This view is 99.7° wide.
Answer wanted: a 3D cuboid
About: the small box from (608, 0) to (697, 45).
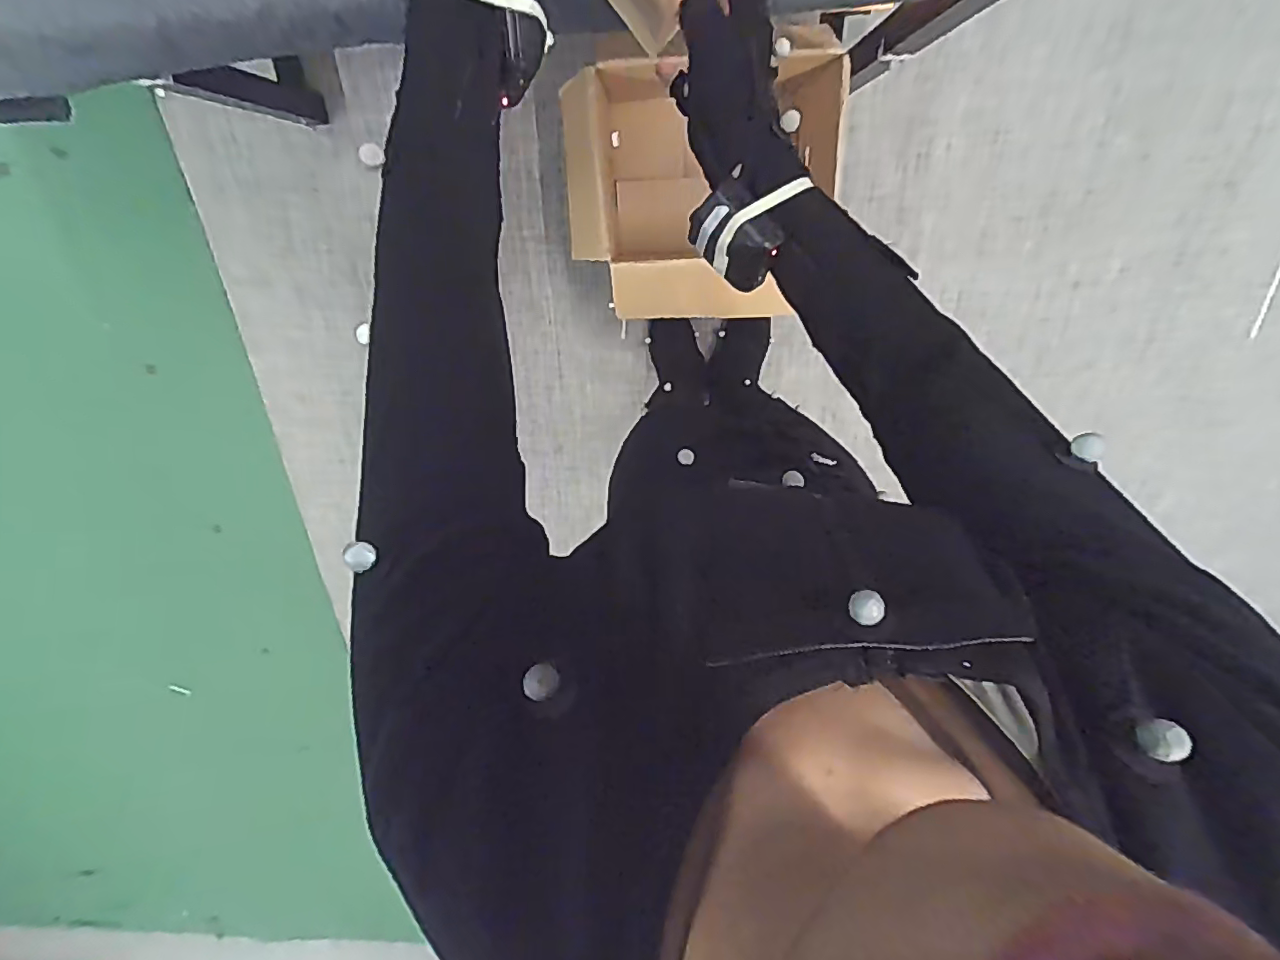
[{"bbox_3d":[0.020,-0.478,0.394,0.179,0.176,0.168,-39,111,17],"label":"small box"}]
